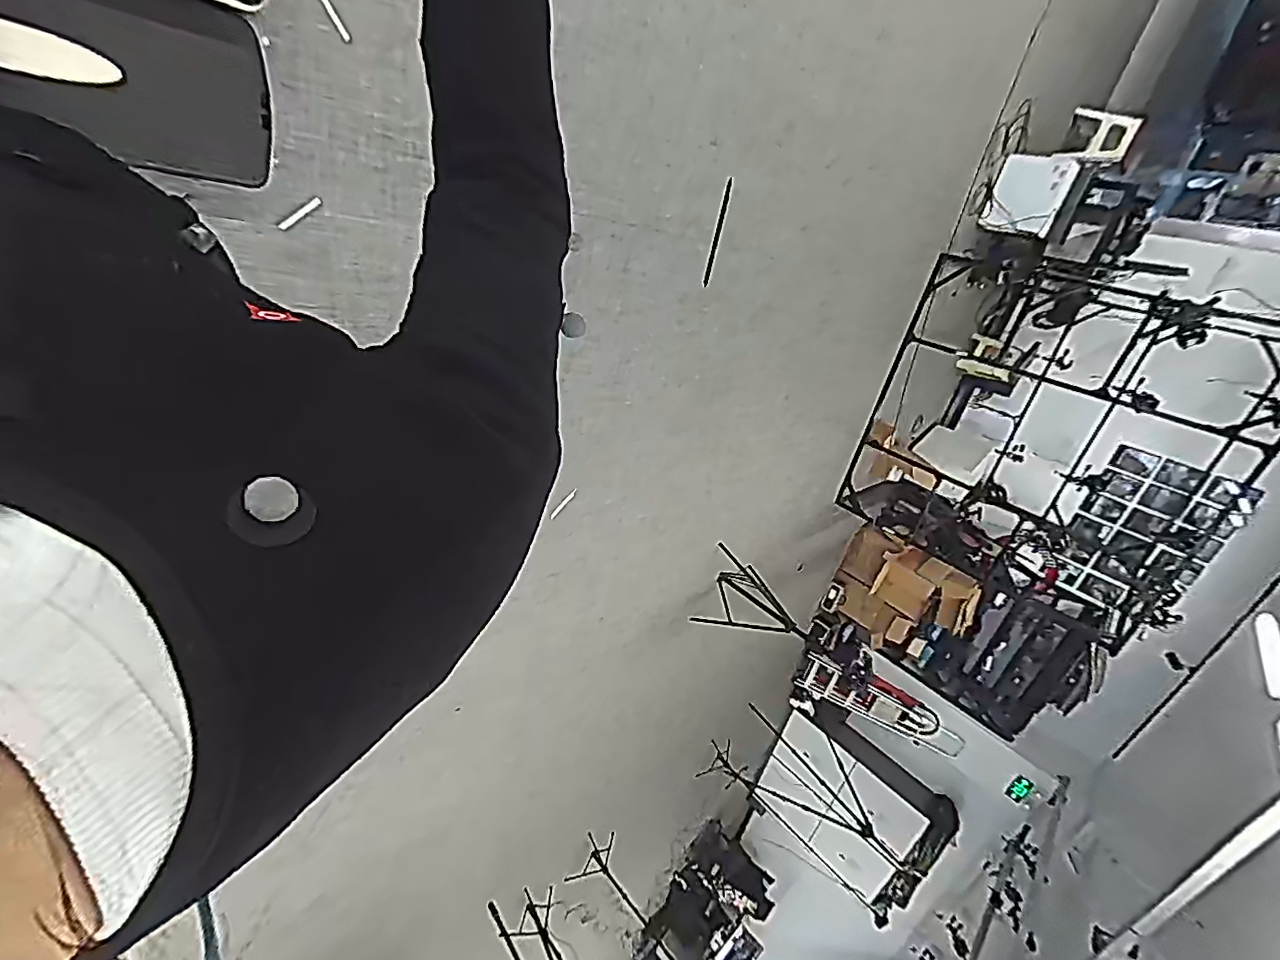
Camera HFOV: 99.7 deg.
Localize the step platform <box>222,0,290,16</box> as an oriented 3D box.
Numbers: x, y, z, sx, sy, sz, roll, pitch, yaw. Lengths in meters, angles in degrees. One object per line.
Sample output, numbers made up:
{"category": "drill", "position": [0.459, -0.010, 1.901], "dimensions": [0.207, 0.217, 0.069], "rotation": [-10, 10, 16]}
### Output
{"category": "step platform", "position": [-0.844, -0.901, 0.693], "dimensions": [0.684, 0.204, 0.286], "rotation": [-15, 128, -44]}
